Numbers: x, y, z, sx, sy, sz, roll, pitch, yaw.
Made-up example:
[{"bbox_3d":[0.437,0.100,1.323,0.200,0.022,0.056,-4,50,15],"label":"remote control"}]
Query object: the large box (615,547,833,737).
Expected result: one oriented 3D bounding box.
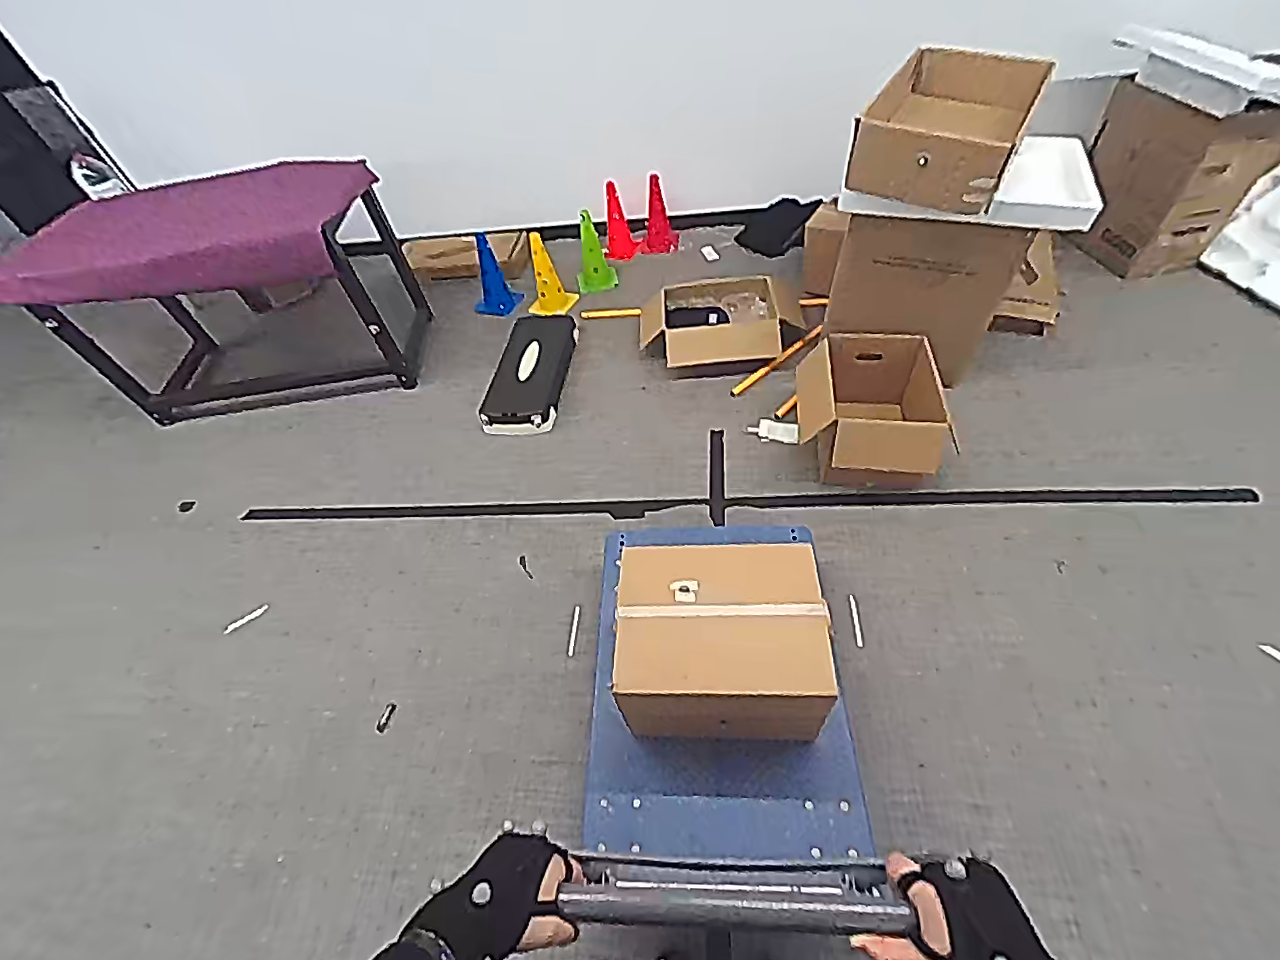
[{"bbox_3d":[0.174,0.368,1.195,0.408,0.320,0.320,-3,50,7],"label":"large box"}]
